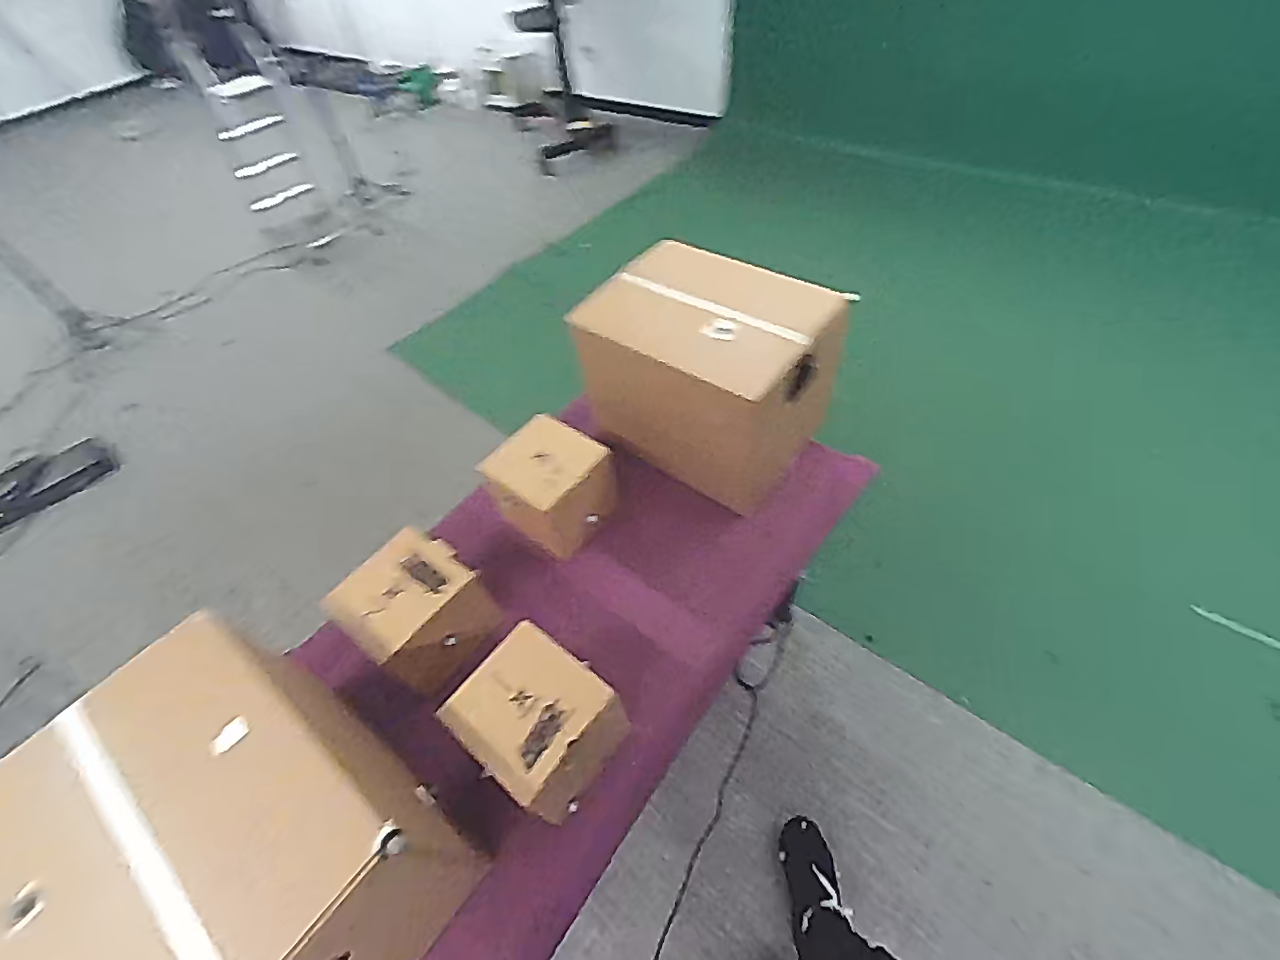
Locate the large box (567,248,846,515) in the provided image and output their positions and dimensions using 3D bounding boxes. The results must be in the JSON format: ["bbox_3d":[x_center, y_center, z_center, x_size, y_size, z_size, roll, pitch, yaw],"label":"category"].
[{"bbox_3d":[0.125,-0.201,1.072,0.408,0.320,0.320,30,62,26],"label":"large box"}]

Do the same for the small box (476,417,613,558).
[{"bbox_3d":[-0.172,0.018,1.021,0.179,0.176,0.168,30,61,26],"label":"small box"}]
